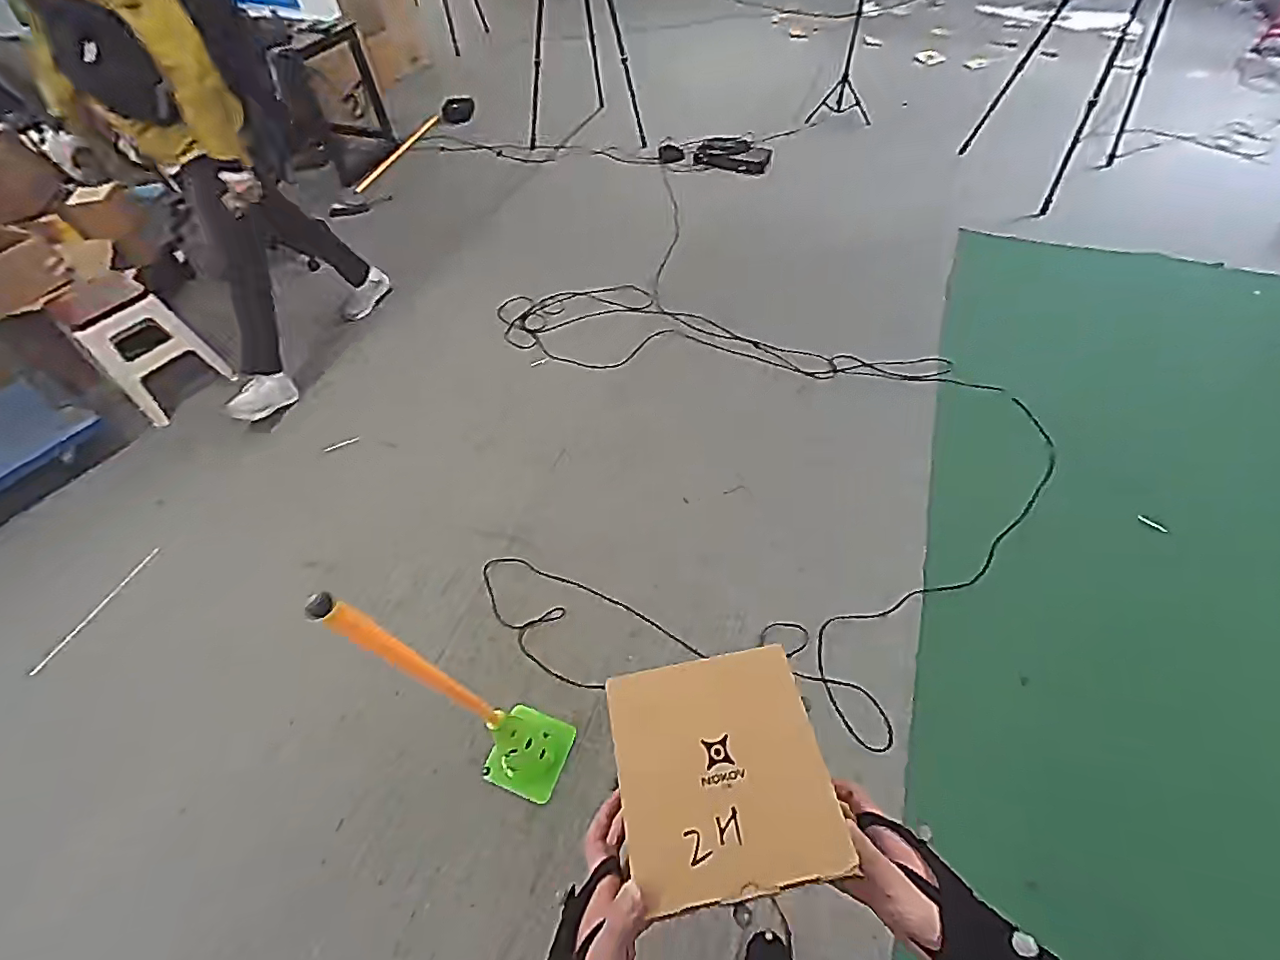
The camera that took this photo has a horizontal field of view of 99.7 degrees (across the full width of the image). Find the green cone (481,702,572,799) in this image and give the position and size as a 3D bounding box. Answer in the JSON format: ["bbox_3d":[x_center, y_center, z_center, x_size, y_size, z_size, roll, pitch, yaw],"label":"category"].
[{"bbox_3d":[-0.311,0.625,1.333,0.200,0.368,0.202,16,55,14],"label":"green cone"}]

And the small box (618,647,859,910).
[{"bbox_3d":[0.075,0.281,0.507,0.168,0.176,0.179,-9,52,-2],"label":"small box"}]
